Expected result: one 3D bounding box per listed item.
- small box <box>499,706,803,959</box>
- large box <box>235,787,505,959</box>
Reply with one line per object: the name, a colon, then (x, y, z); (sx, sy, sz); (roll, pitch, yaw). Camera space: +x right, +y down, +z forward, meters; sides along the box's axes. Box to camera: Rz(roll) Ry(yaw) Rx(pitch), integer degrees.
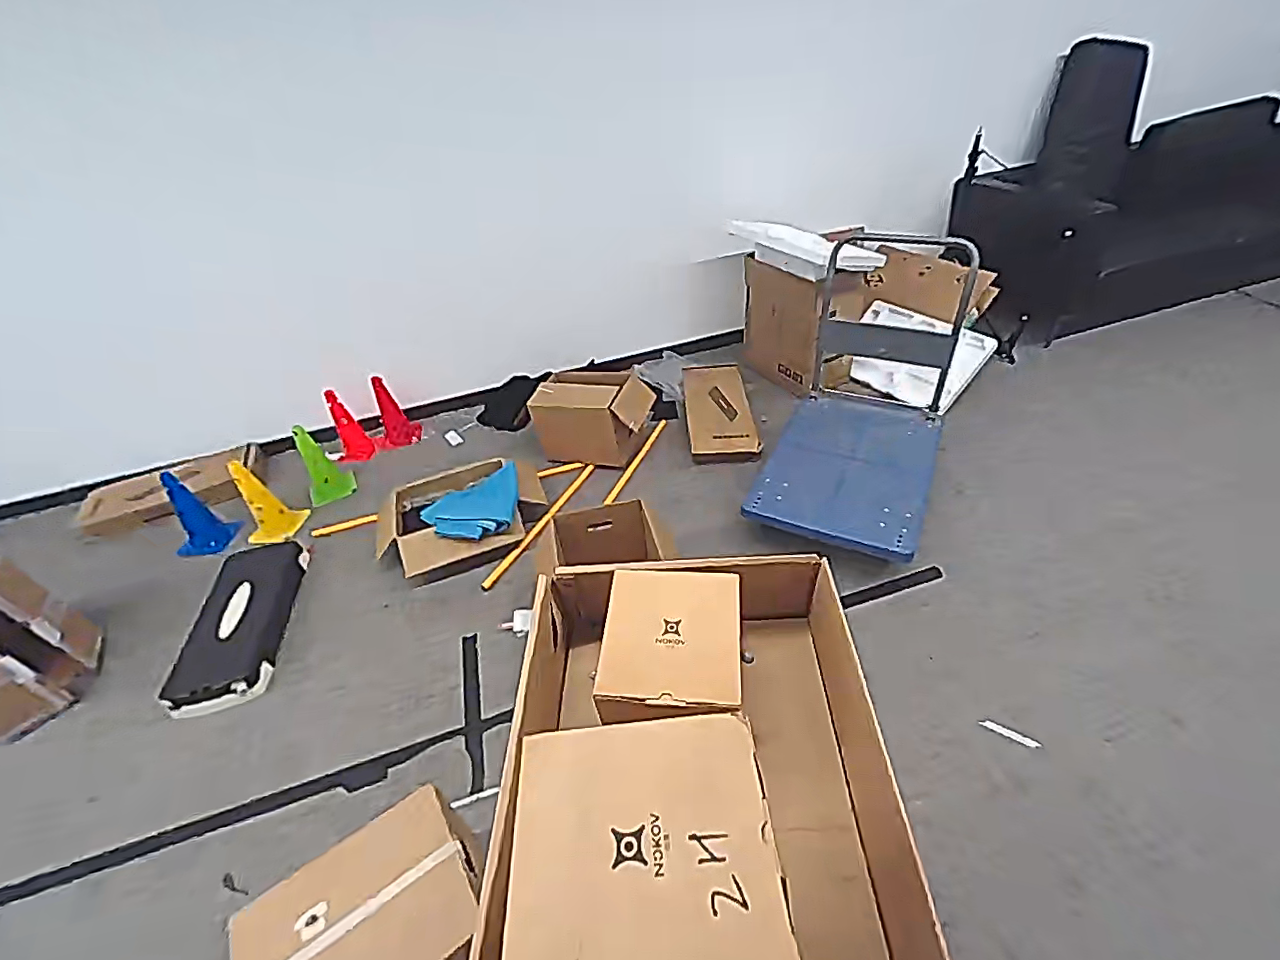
small box: (0.010, 0.294, 0.402); (0.179, 0.176, 0.168); (-7, 42, 1)
large box: (-0.502, 0.938, 1.095); (0.408, 0.320, 0.320); (-29, 43, -23)
